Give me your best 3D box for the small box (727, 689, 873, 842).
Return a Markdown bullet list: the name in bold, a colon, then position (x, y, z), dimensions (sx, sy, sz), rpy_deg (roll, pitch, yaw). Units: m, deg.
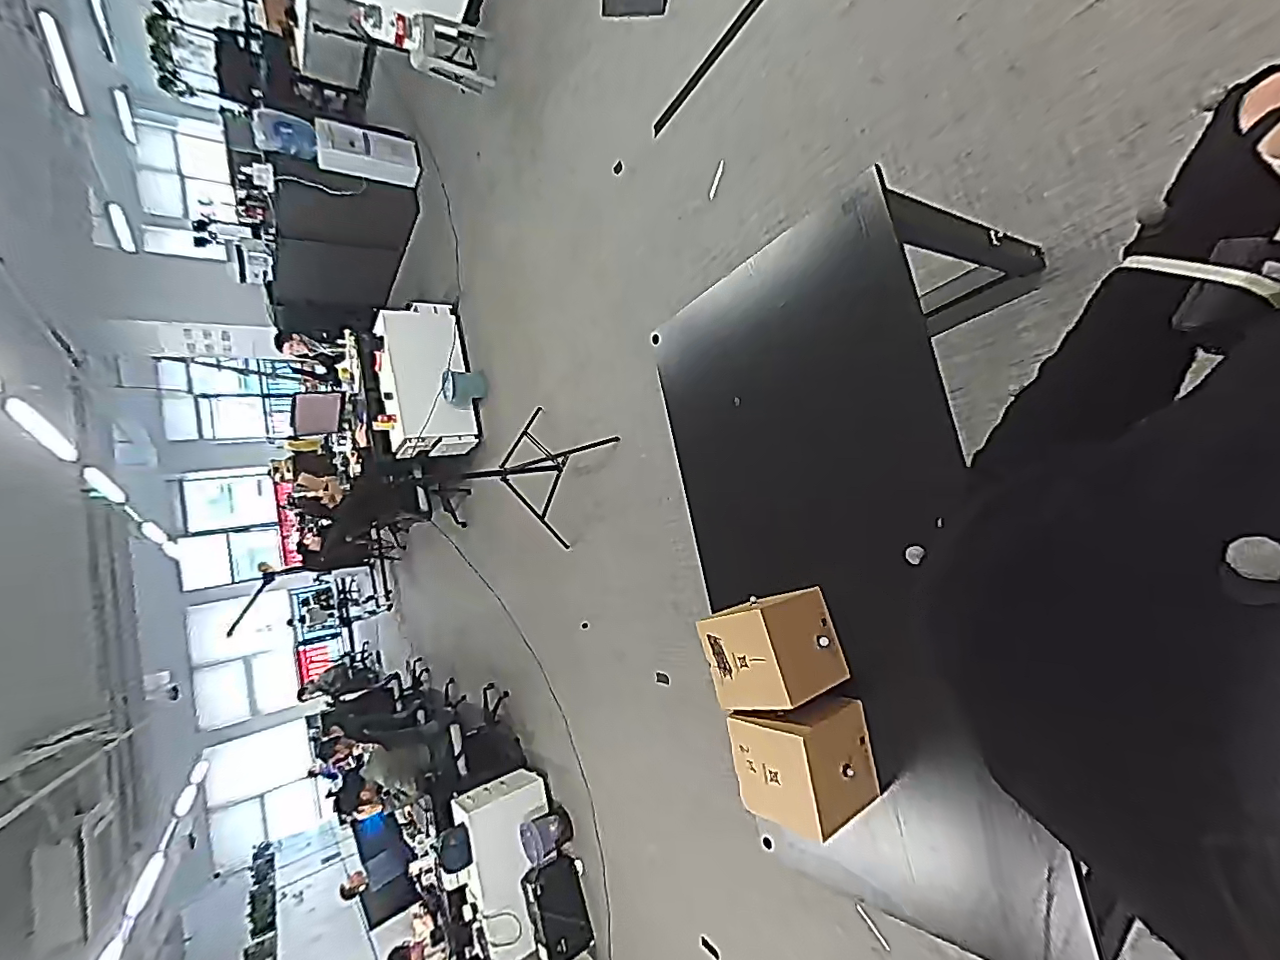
- **small box**: position (0.284, 0.482, 0.948), dimensions (0.179, 0.176, 0.168), rpy_deg (-17, 81, 55)
